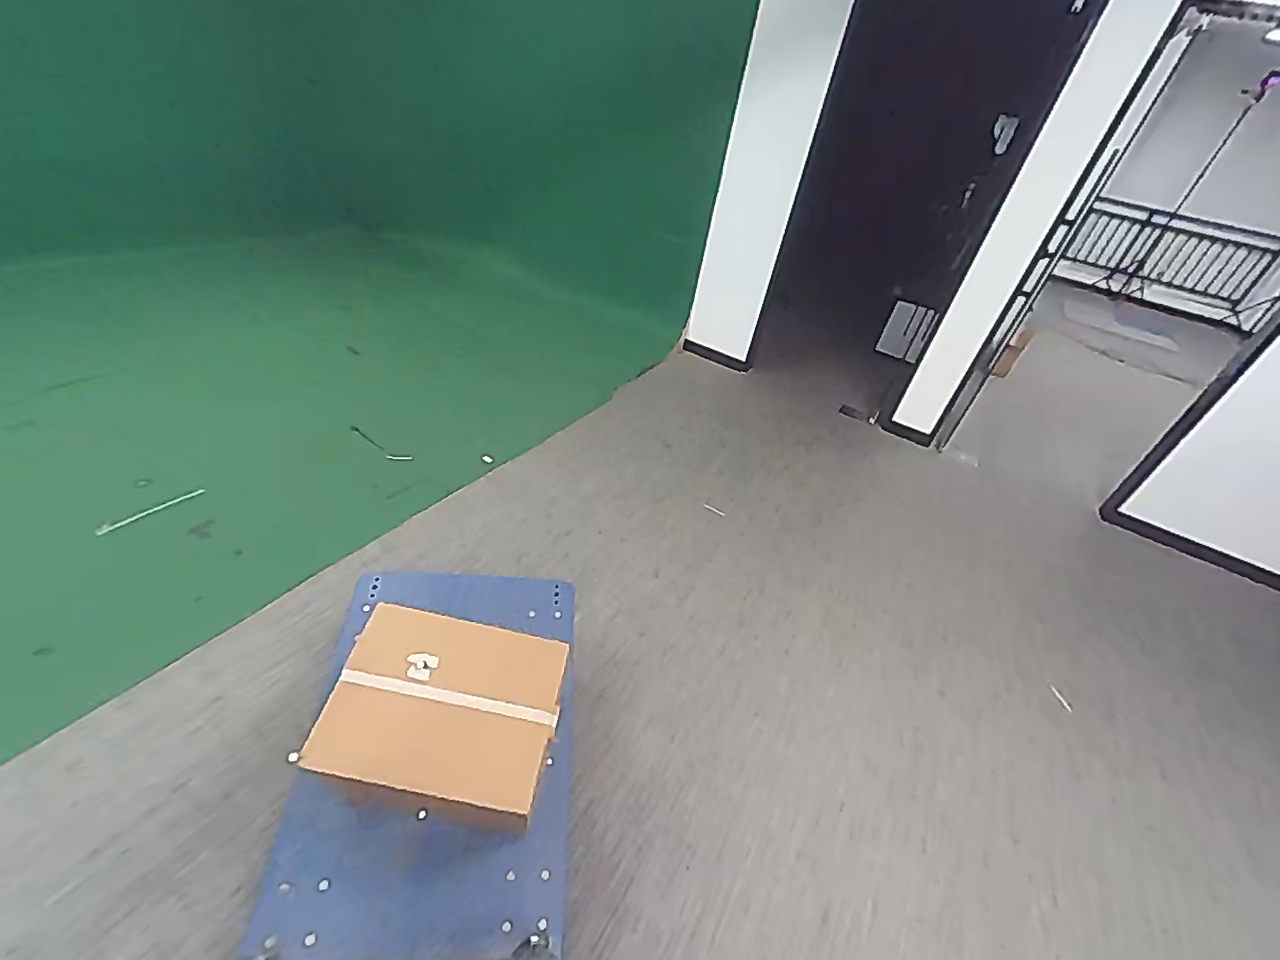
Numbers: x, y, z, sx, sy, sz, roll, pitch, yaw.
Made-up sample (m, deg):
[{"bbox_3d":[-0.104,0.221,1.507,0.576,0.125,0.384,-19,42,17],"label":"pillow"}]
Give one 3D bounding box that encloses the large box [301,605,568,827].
[{"bbox_3d":[-0.384,0.503,1.133,0.408,0.320,0.320,13,49,-1],"label":"large box"}]
